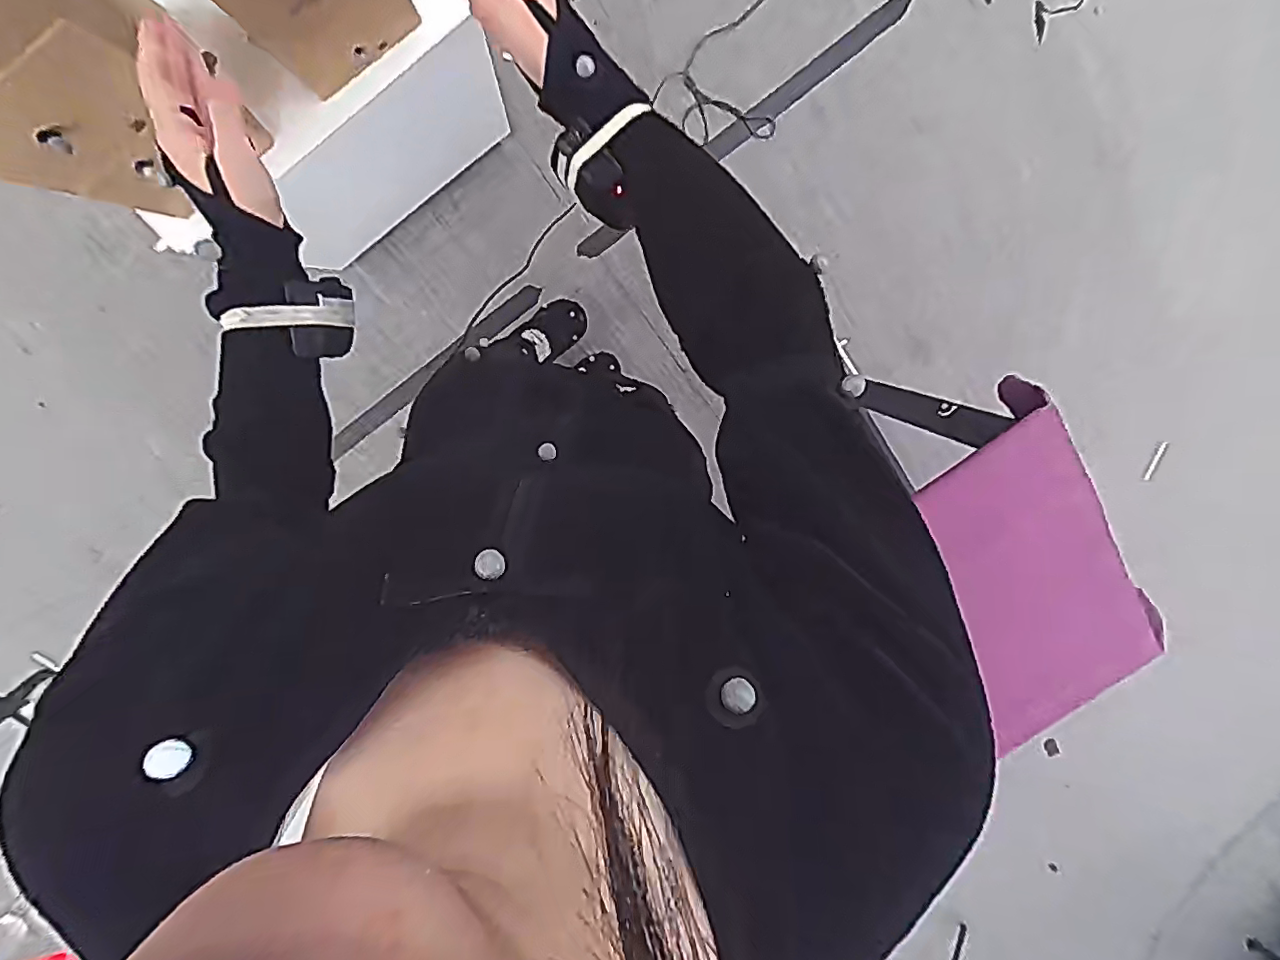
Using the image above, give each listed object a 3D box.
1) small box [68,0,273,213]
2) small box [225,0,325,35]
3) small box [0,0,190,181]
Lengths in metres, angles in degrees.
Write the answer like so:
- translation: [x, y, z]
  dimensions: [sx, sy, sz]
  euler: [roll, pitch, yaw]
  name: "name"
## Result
- translation: [-0.570, -0.431, 0.601]
  dimensions: [0.168, 0.176, 0.179]
  euler: [-36, 109, 4]
  name: "small box"
- translation: [-0.341, -0.520, 0.430]
  dimensions: [0.168, 0.176, 0.179]
  euler: [-35, 111, 4]
  name: "small box"
- translation: [-0.545, -0.379, 0.448]
  dimensions: [0.168, 0.176, 0.179]
  euler: [-38, 109, 5]
  name: "small box"
